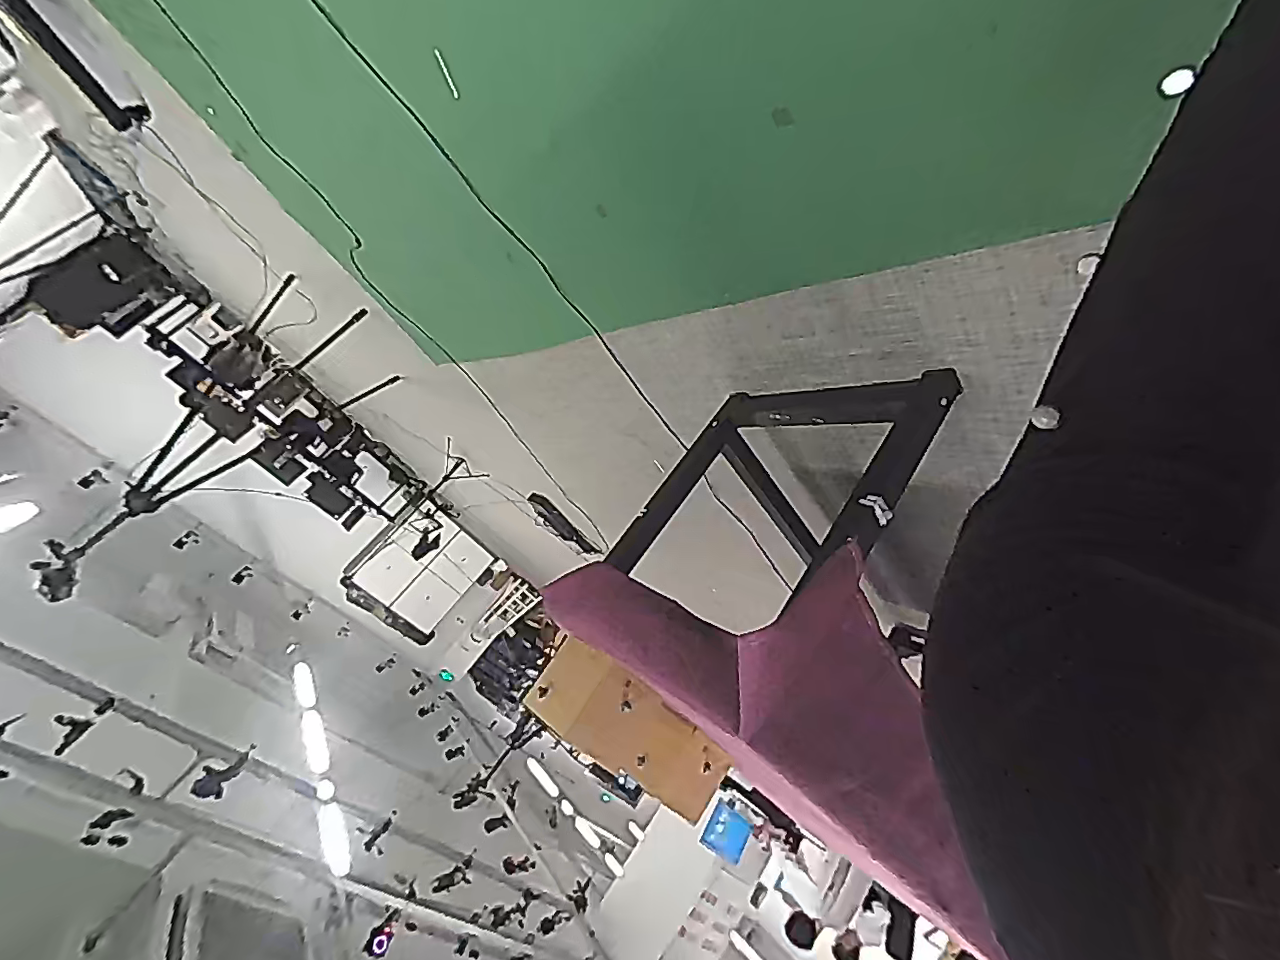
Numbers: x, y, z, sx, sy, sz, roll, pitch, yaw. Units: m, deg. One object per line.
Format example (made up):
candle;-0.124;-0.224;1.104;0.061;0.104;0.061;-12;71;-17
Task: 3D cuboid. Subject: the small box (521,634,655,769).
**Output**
small box;-0.101;0.439;1.100;0.179;0.176;0.168;5;143;52

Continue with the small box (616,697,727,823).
small box;0.065;0.629;1.240;0.168;0.176;0.179;49;157;-27
